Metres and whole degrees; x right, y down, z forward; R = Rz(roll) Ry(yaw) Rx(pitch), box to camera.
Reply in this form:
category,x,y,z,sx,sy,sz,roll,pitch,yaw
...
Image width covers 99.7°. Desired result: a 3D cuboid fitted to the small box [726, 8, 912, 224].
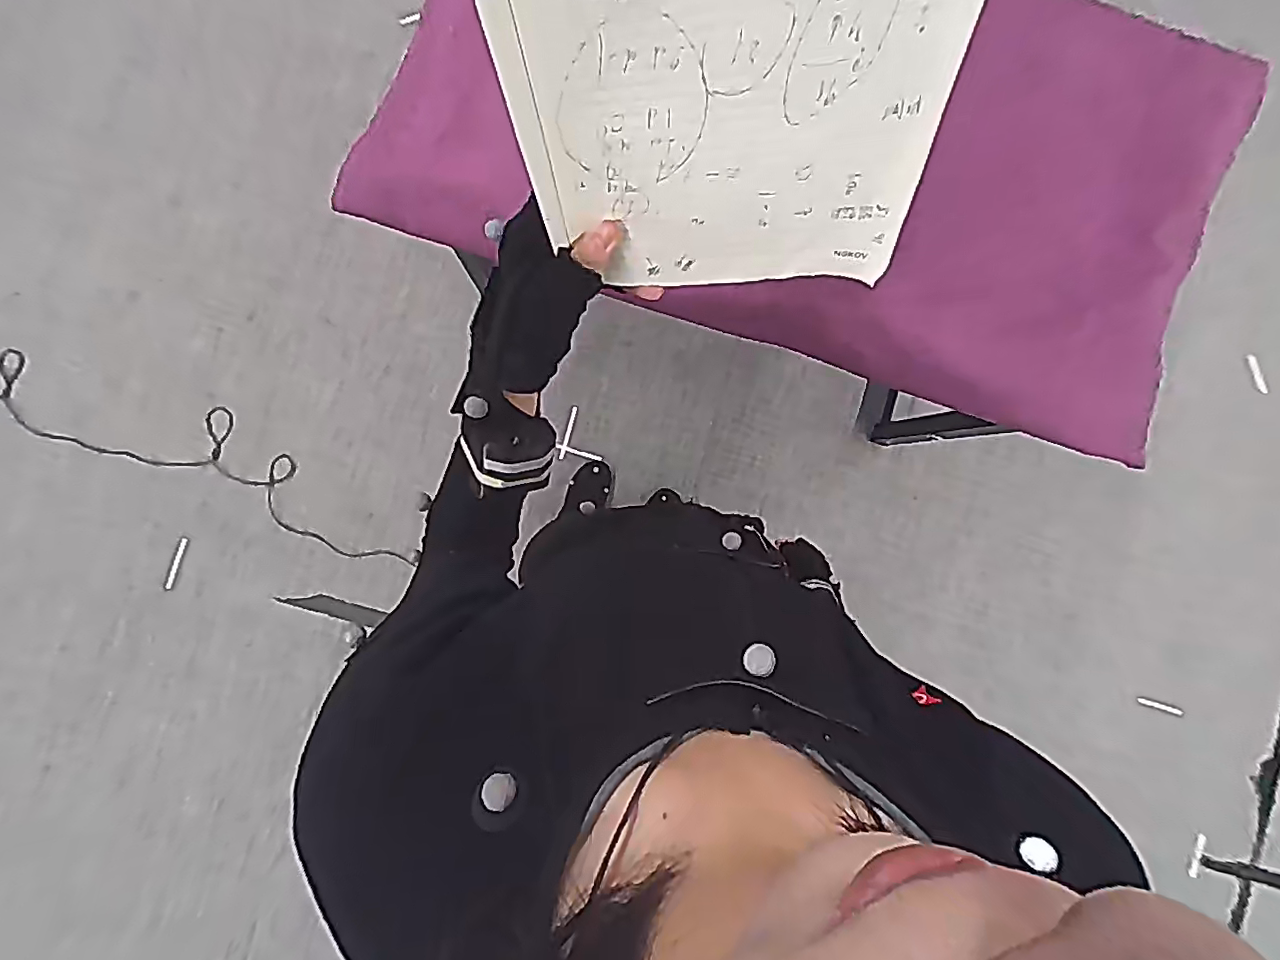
category,x,y,z,sx,sy,sz,roll,pitch,yaw
small box,0.228,-0.466,0.723,0.179,0.176,0.168,5,89,-6
